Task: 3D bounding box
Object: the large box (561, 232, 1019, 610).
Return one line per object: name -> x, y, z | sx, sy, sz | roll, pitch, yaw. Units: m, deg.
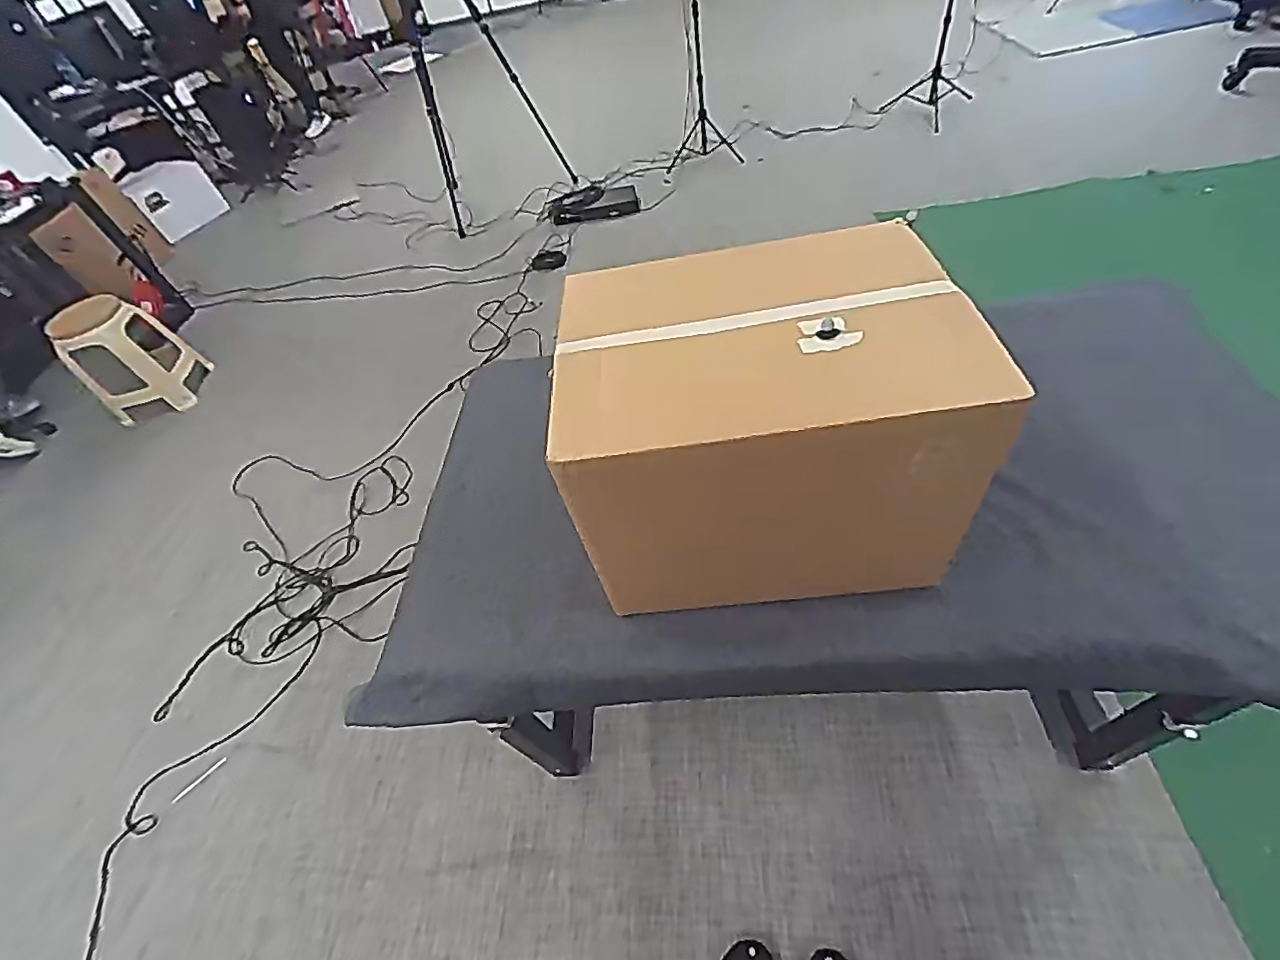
large box -> 0.137, -0.060, 0.674 | 0.408, 0.320, 0.320 | -7, 51, 5
